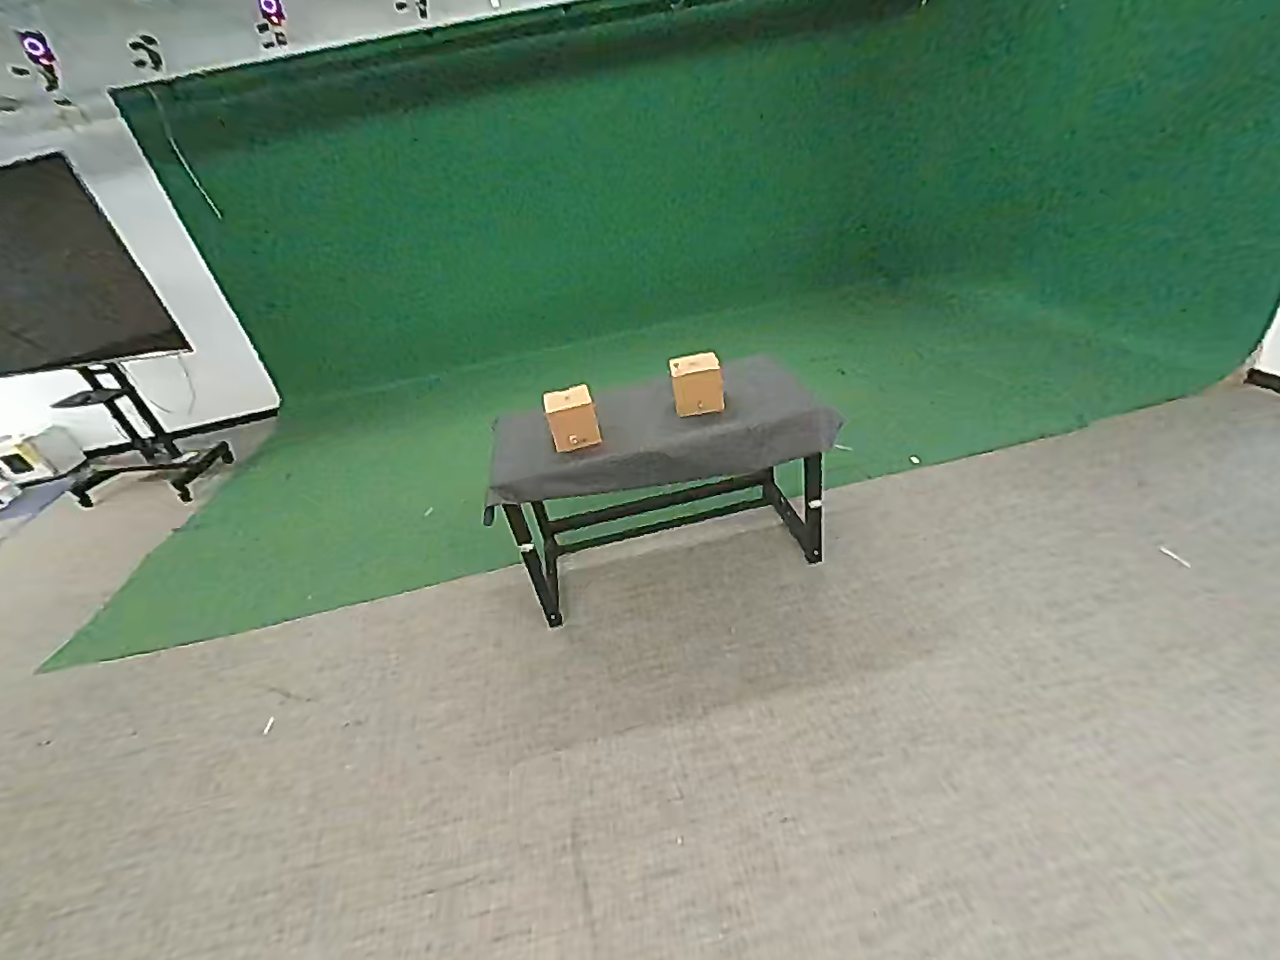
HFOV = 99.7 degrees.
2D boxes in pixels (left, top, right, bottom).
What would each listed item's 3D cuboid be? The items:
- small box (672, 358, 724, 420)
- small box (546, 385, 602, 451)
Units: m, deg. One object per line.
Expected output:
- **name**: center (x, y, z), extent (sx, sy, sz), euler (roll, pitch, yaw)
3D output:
- **small box**: center (0.221, -0.342, 2.043), extent (0.179, 0.176, 0.168), euler (-8, 32, 5)
- **small box**: center (-0.244, -0.226, 1.977), extent (0.168, 0.176, 0.179), euler (-15, 32, -2)
